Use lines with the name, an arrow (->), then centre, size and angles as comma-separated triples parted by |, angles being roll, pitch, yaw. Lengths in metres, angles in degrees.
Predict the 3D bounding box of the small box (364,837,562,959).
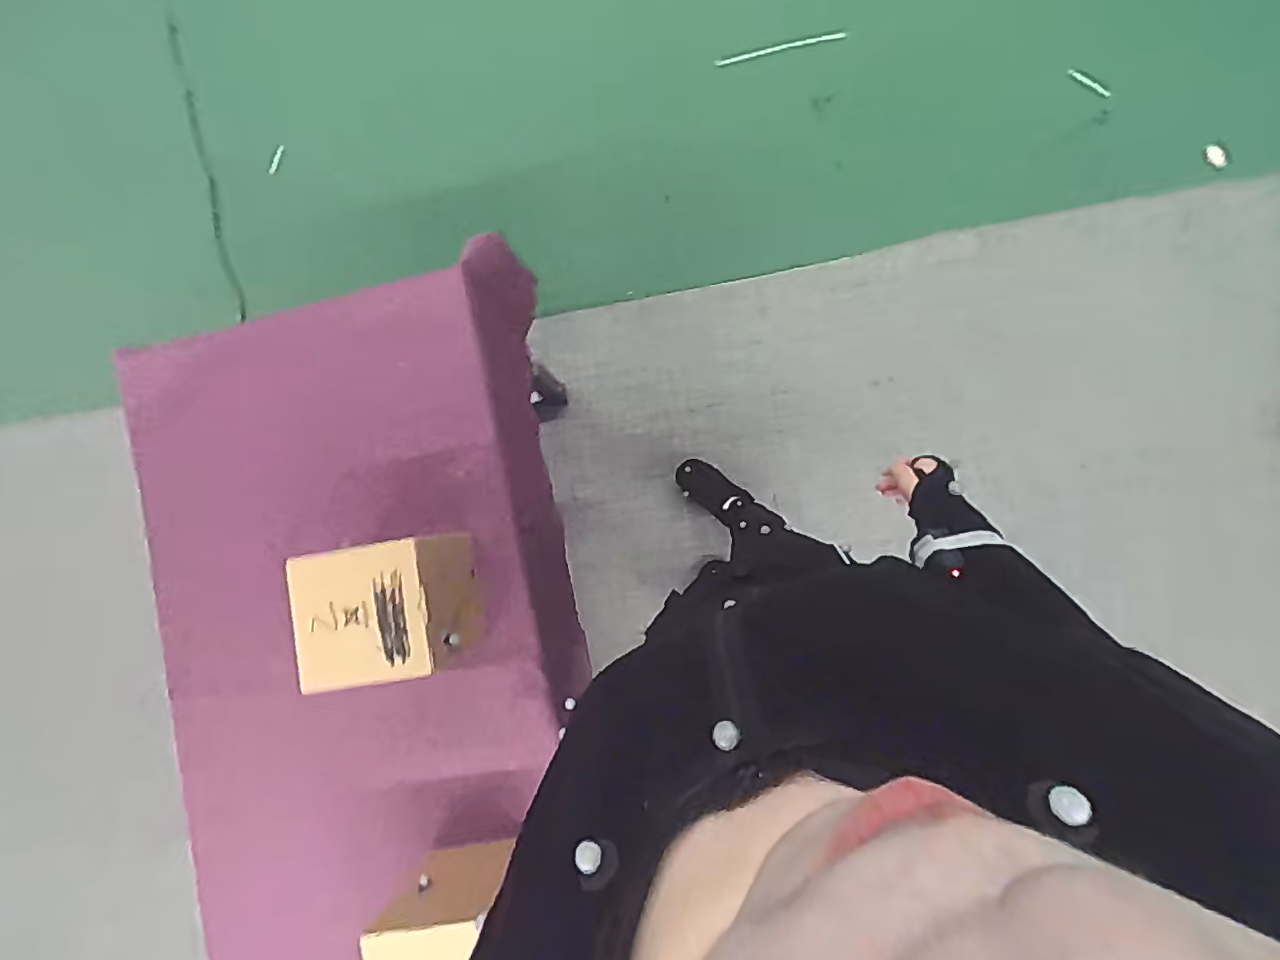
small box -> -0.217, 0.602, 0.699 | 0.179, 0.176, 0.168 | -12, 85, 5
